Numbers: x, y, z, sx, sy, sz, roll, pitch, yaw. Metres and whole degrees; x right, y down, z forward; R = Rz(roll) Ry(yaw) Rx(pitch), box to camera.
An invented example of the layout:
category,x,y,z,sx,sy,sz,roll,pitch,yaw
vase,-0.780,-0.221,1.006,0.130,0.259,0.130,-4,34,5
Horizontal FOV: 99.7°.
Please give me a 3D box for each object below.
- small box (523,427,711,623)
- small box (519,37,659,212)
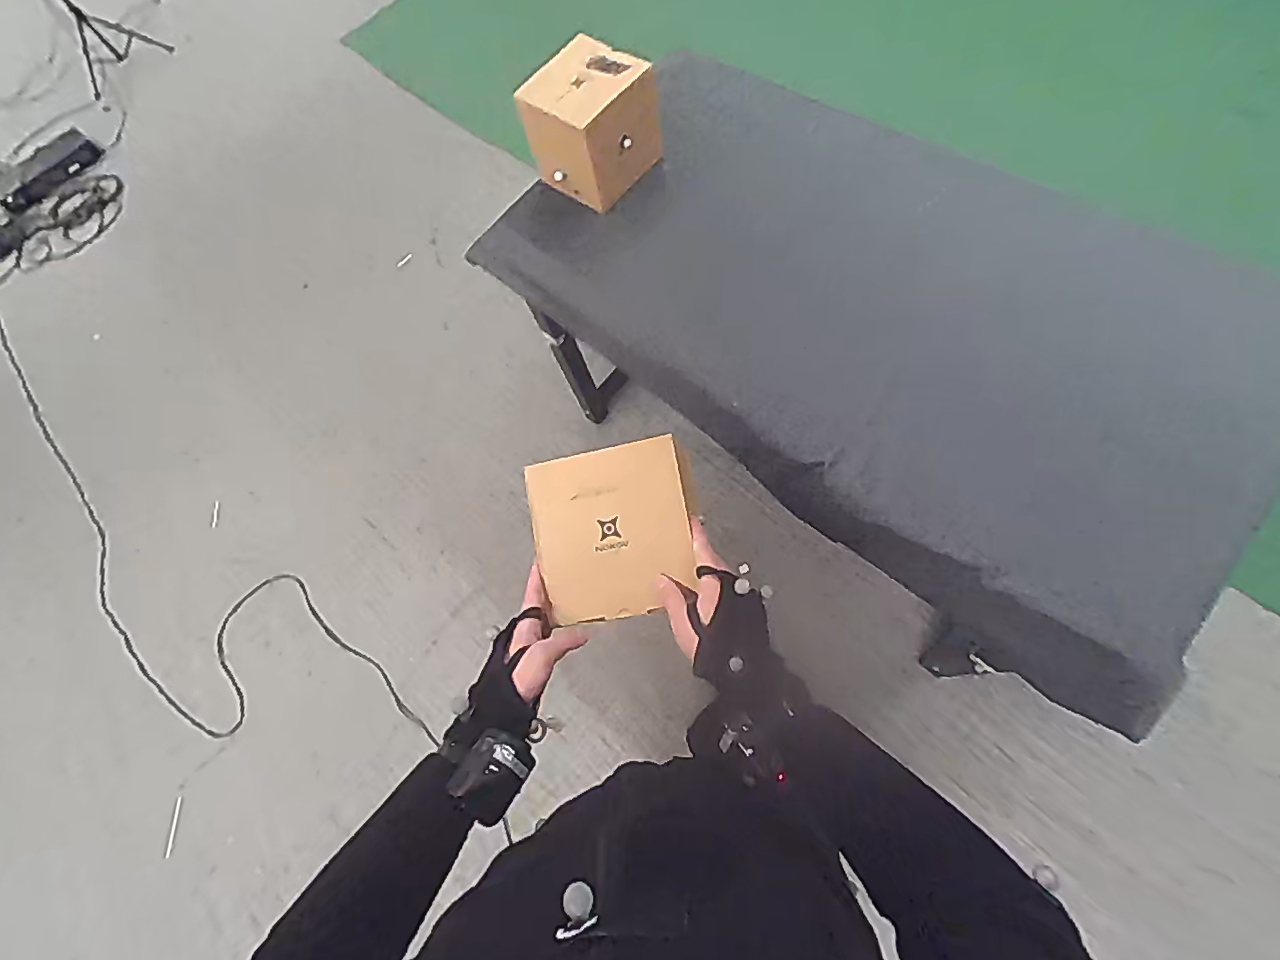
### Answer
category,x,y,z,sx,sy,sz,roll,pitch,yaw
small box,-0.015,0.053,0.623,0.168,0.176,0.179,-12,81,9
small box,-0.079,-0.624,0.960,0.168,0.176,0.179,37,78,20
